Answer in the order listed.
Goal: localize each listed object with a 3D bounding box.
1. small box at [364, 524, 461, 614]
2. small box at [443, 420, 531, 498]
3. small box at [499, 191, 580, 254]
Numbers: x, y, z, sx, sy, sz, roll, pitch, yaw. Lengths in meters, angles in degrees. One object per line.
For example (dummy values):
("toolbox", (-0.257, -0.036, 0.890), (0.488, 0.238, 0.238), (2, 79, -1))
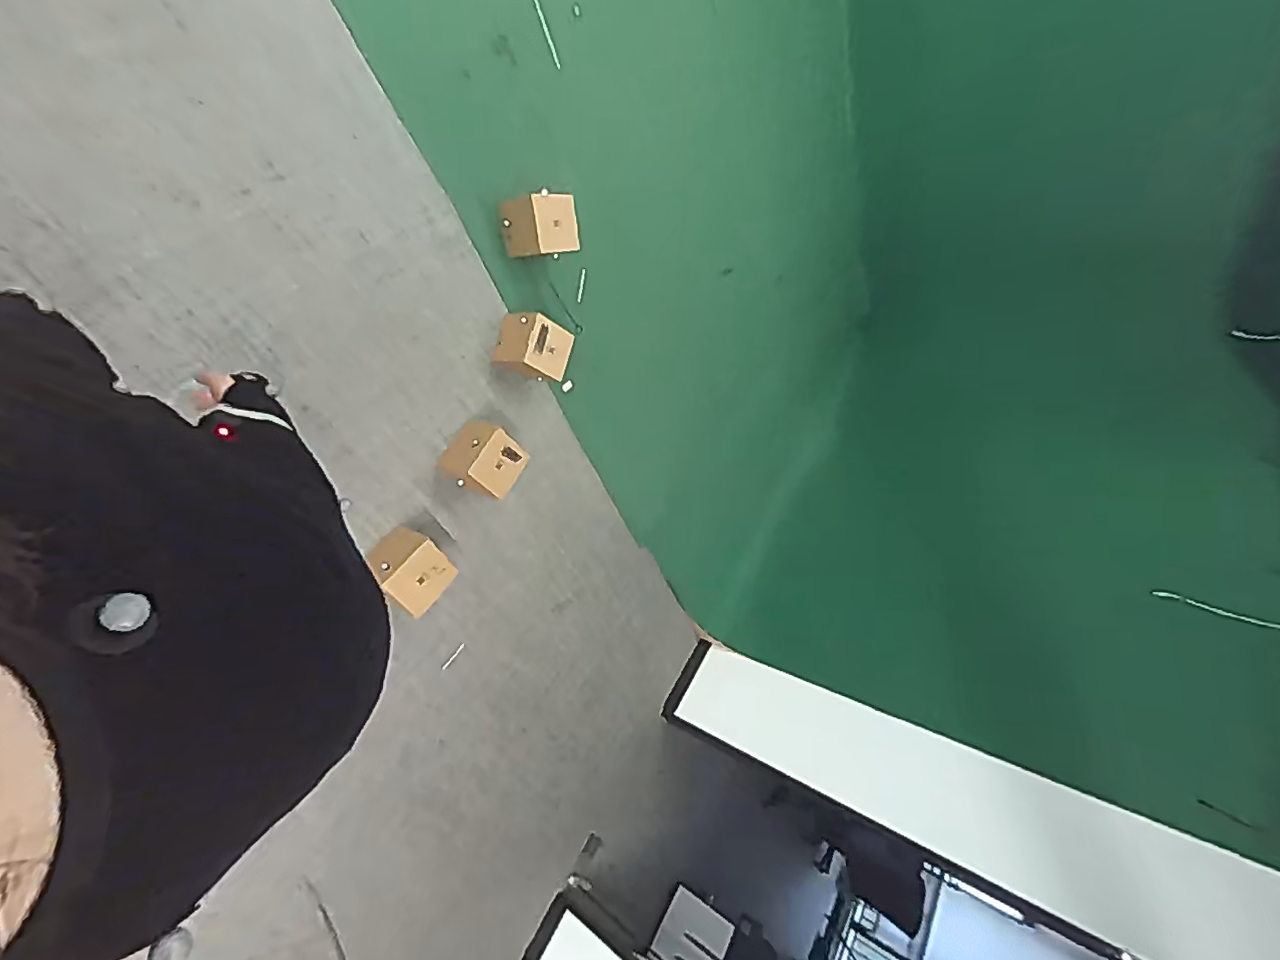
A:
("small box", (-0.668, 0.255, 1.574), (0.179, 0.176, 0.168), (-52, 136, -29))
("small box", (-0.487, -0.072, 1.713), (0.179, 0.176, 0.168), (-61, 139, -19))
("small box", (-0.319, -0.820, 1.728), (0.179, 0.176, 0.168), (-29, 121, -44))
